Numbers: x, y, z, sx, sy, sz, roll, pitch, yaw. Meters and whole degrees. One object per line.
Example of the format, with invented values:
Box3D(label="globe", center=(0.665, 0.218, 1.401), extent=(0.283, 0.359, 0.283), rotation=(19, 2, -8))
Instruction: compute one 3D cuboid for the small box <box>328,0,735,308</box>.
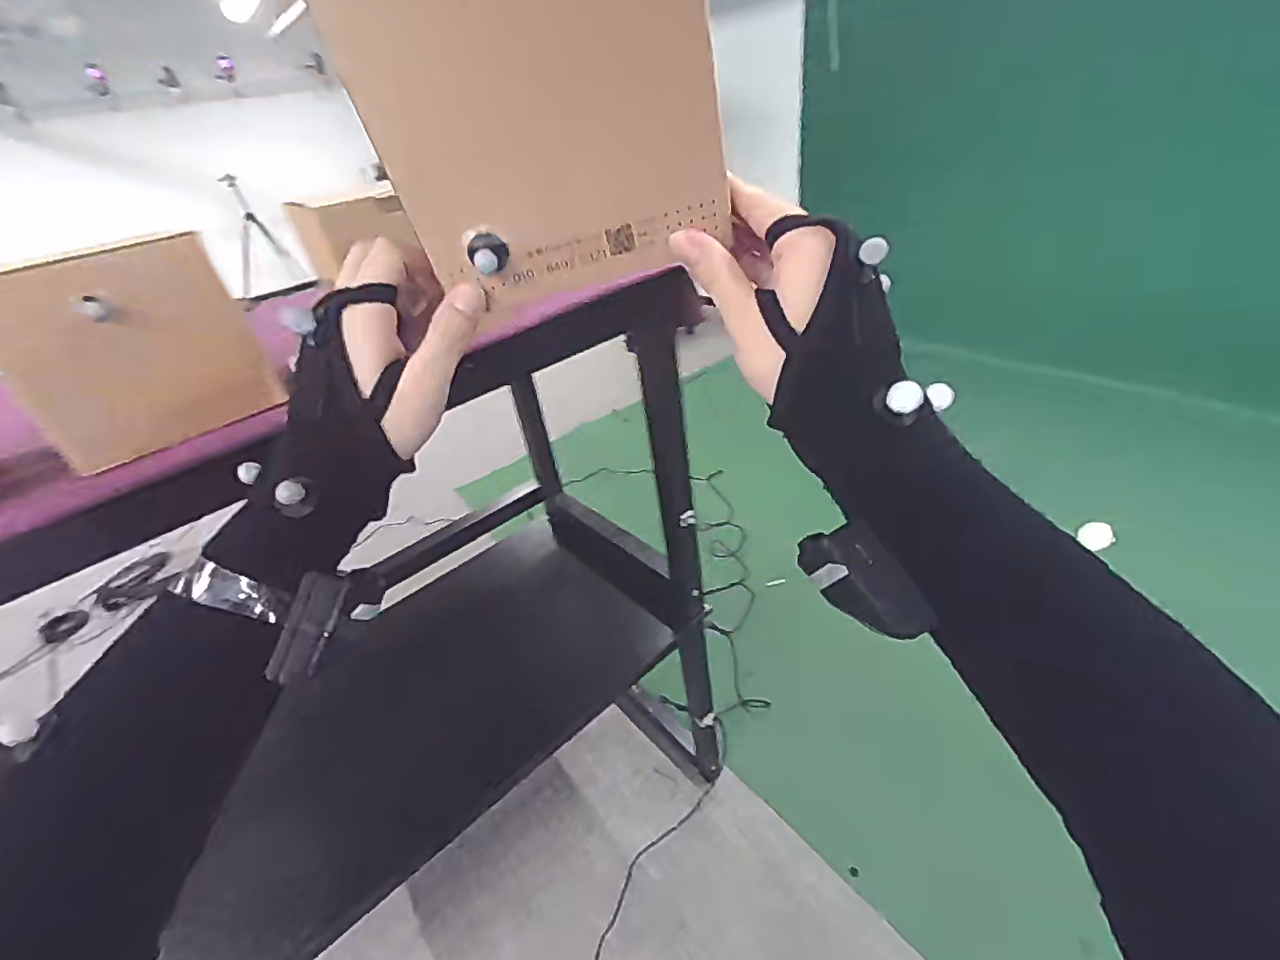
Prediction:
Box3D(label="small box", center=(-0.045, -0.224, 0.337), extent=(0.168, 0.176, 0.179), rotation=(-14, 38, 5))
